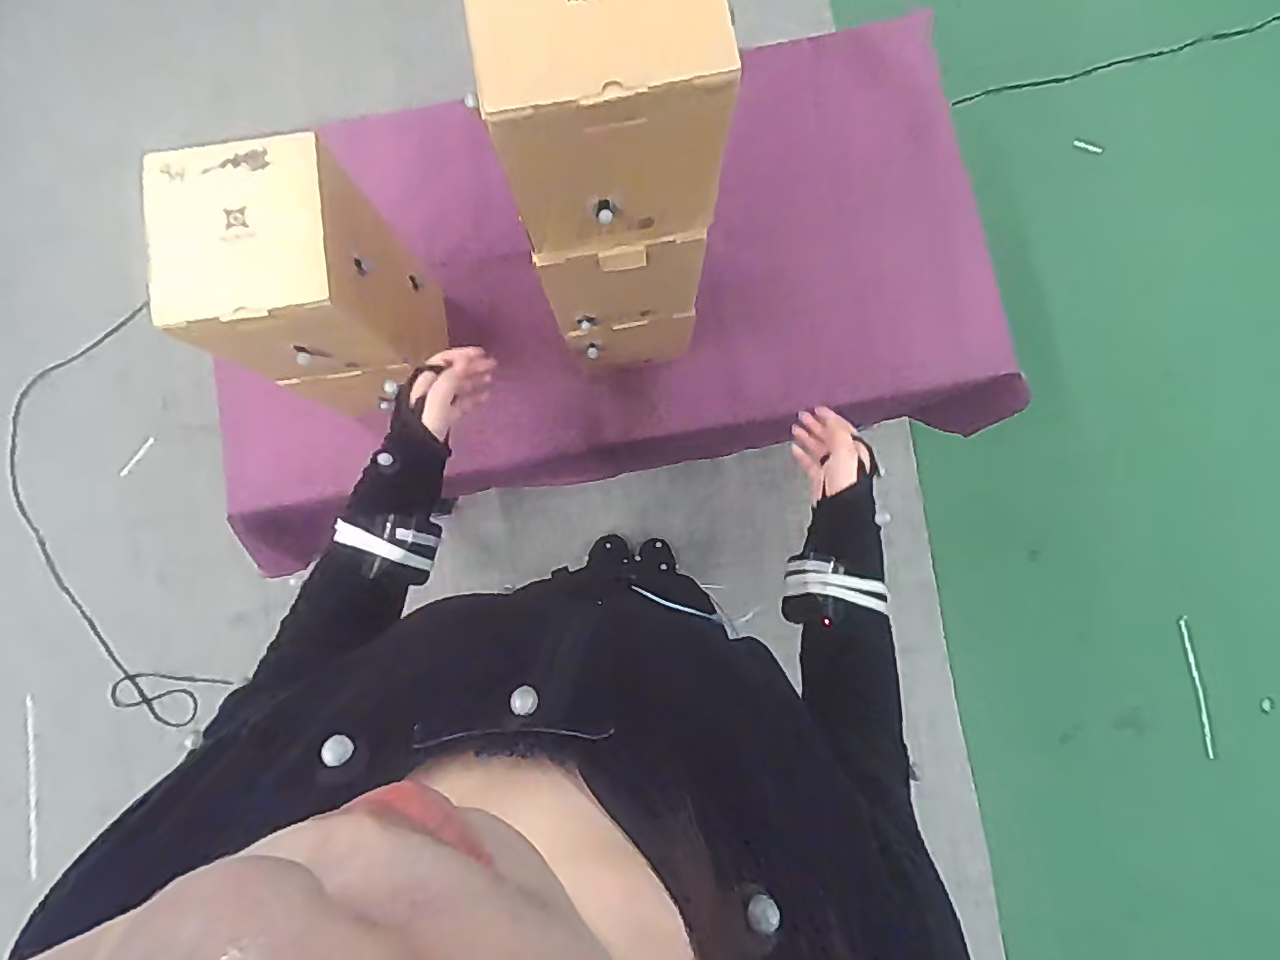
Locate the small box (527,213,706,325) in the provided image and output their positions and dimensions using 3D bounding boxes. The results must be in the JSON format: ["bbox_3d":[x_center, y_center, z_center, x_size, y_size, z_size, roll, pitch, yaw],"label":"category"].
[{"bbox_3d":[-0.029,-0.284,0.588,0.168,0.176,0.179,-10,82,-1],"label":"small box"}]

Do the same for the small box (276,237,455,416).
[{"bbox_3d":[-0.370,-0.200,0.745,0.168,0.176,0.179,-9,84,0],"label":"small box"}]

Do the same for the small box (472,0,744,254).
[{"bbox_3d":[-0.029,-0.313,0.427,0.168,0.176,0.179,-11,84,-1],"label":"small box"}]

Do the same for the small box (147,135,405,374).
[{"bbox_3d":[-0.371,-0.223,0.582,0.168,0.176,0.179,-9,84,-2],"label":"small box"}]
